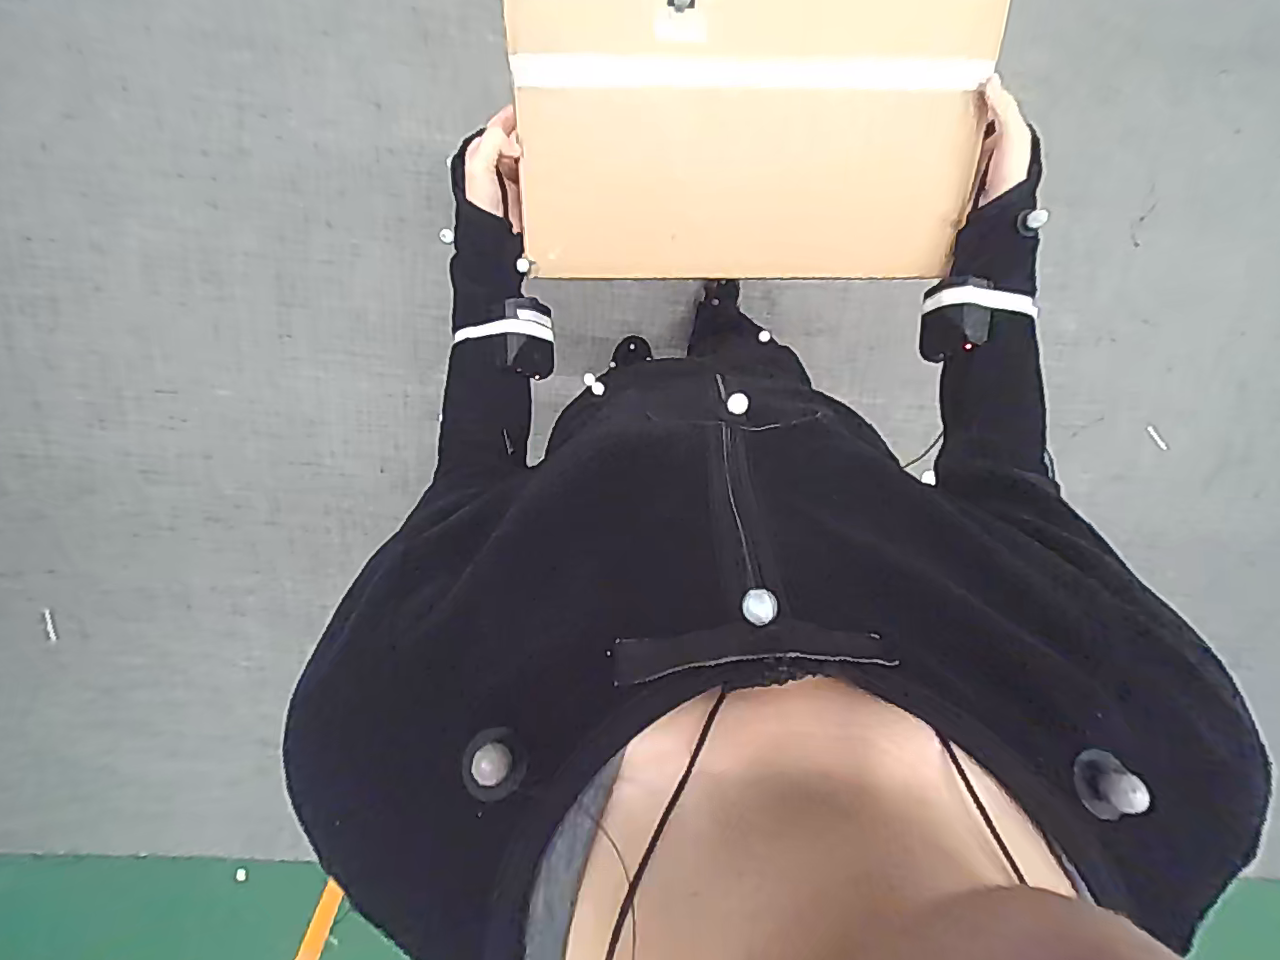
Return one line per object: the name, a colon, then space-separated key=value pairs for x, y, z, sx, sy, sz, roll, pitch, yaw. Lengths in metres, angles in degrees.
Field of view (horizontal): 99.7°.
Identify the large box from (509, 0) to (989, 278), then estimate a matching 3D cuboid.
large box: x=0.089 y=-0.399 z=0.601 sx=0.408 sy=0.320 sz=0.320 roll=-1 pitch=111 yaw=-2
